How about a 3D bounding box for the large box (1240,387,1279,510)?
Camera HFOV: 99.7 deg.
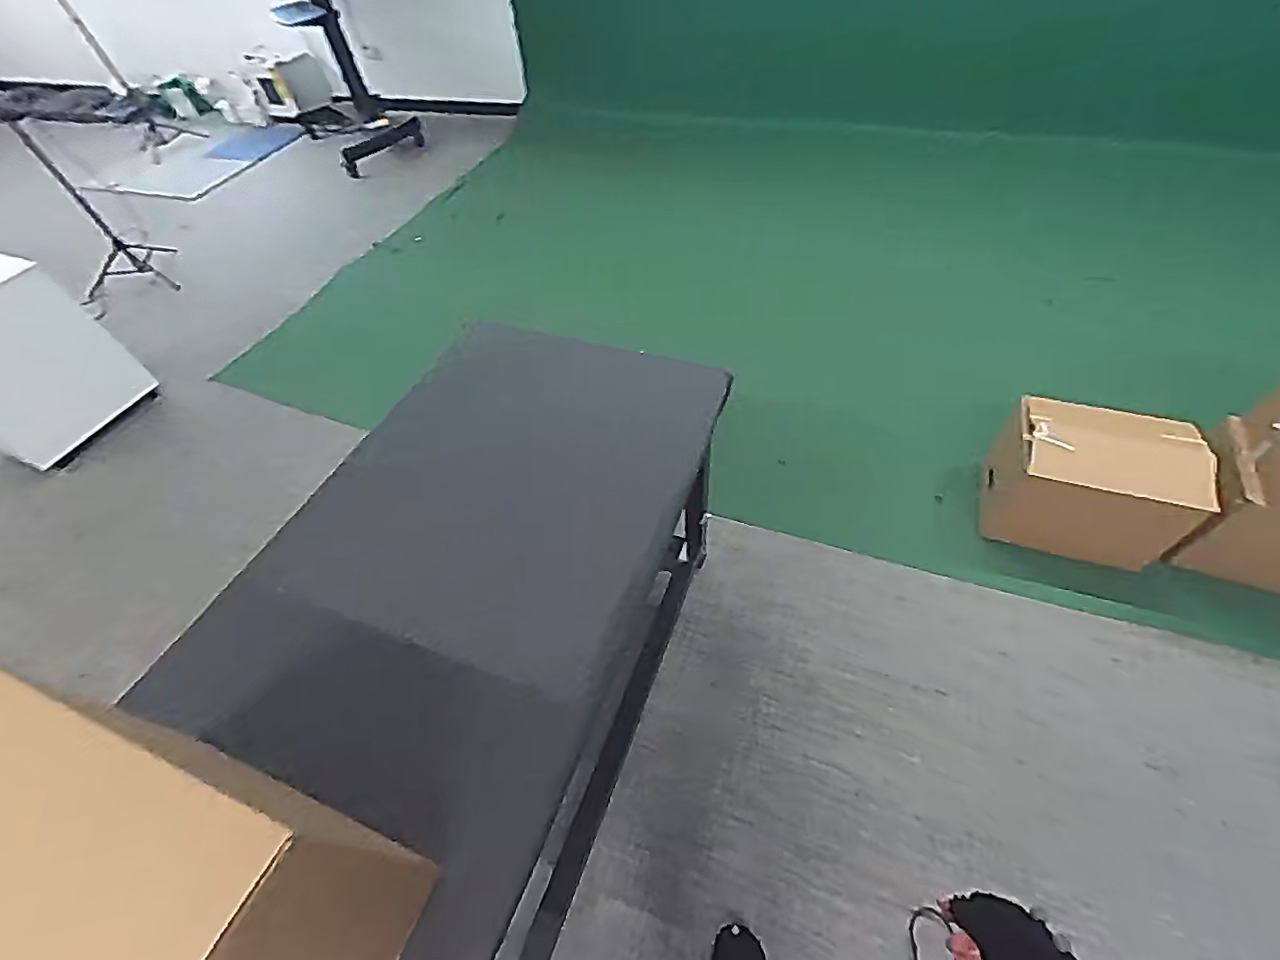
[{"bbox_3d":[1.710,-0.083,1.186,0.408,0.320,0.320,17,56,16],"label":"large box"}]
